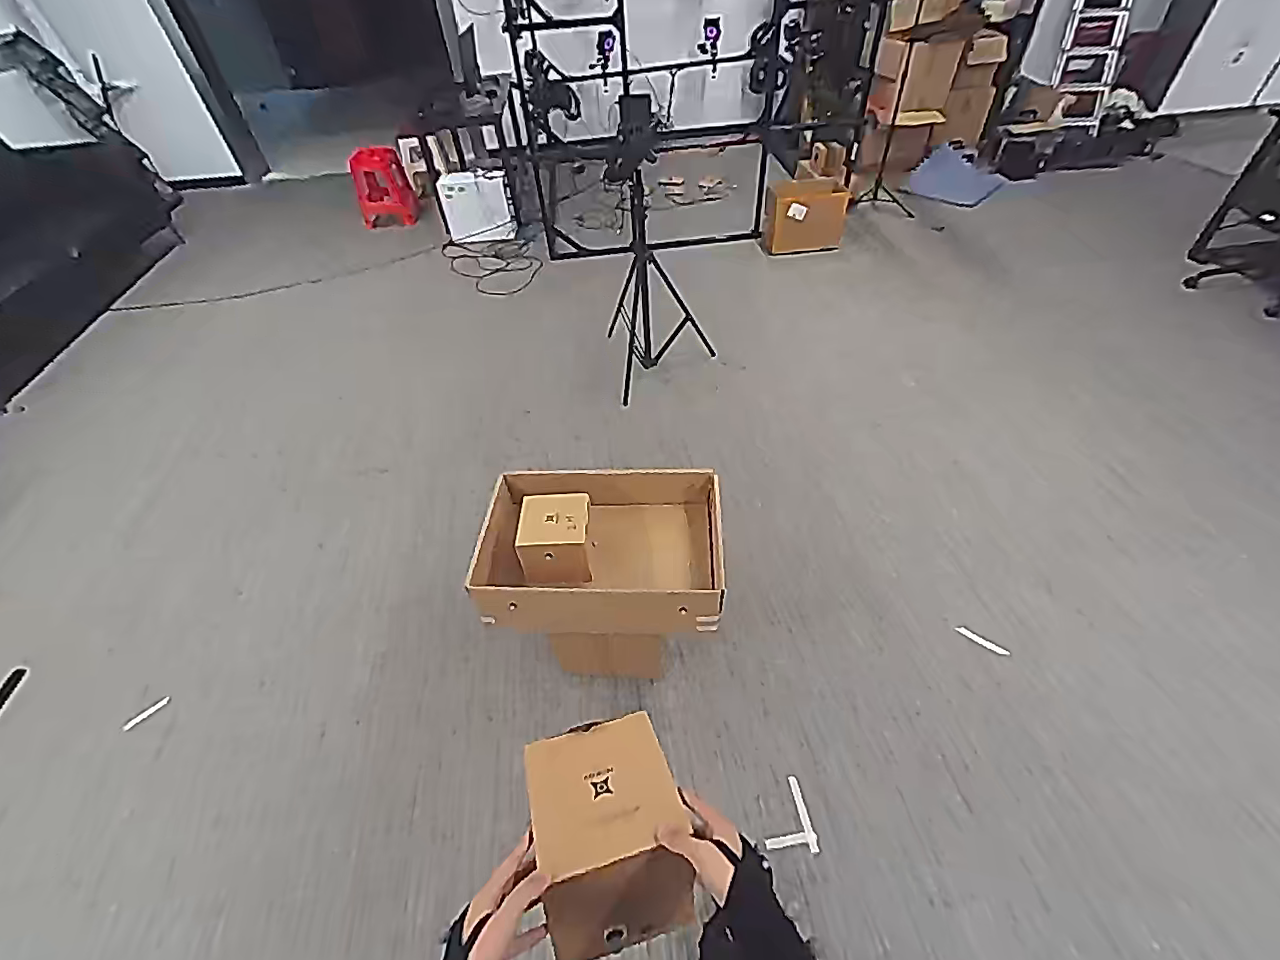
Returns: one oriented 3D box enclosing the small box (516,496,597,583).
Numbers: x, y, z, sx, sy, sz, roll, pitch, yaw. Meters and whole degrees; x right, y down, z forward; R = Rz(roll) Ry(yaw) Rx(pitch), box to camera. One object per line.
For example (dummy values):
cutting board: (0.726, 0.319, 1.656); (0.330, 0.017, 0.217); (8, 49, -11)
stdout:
small box: (-0.213, 0.159, 1.424); (0.179, 0.176, 0.168); (-2, 47, 2)

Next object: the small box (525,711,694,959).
small box: (-0.041, 0.424, 0.657); (0.168, 0.176, 0.179); (-10, 24, -14)
